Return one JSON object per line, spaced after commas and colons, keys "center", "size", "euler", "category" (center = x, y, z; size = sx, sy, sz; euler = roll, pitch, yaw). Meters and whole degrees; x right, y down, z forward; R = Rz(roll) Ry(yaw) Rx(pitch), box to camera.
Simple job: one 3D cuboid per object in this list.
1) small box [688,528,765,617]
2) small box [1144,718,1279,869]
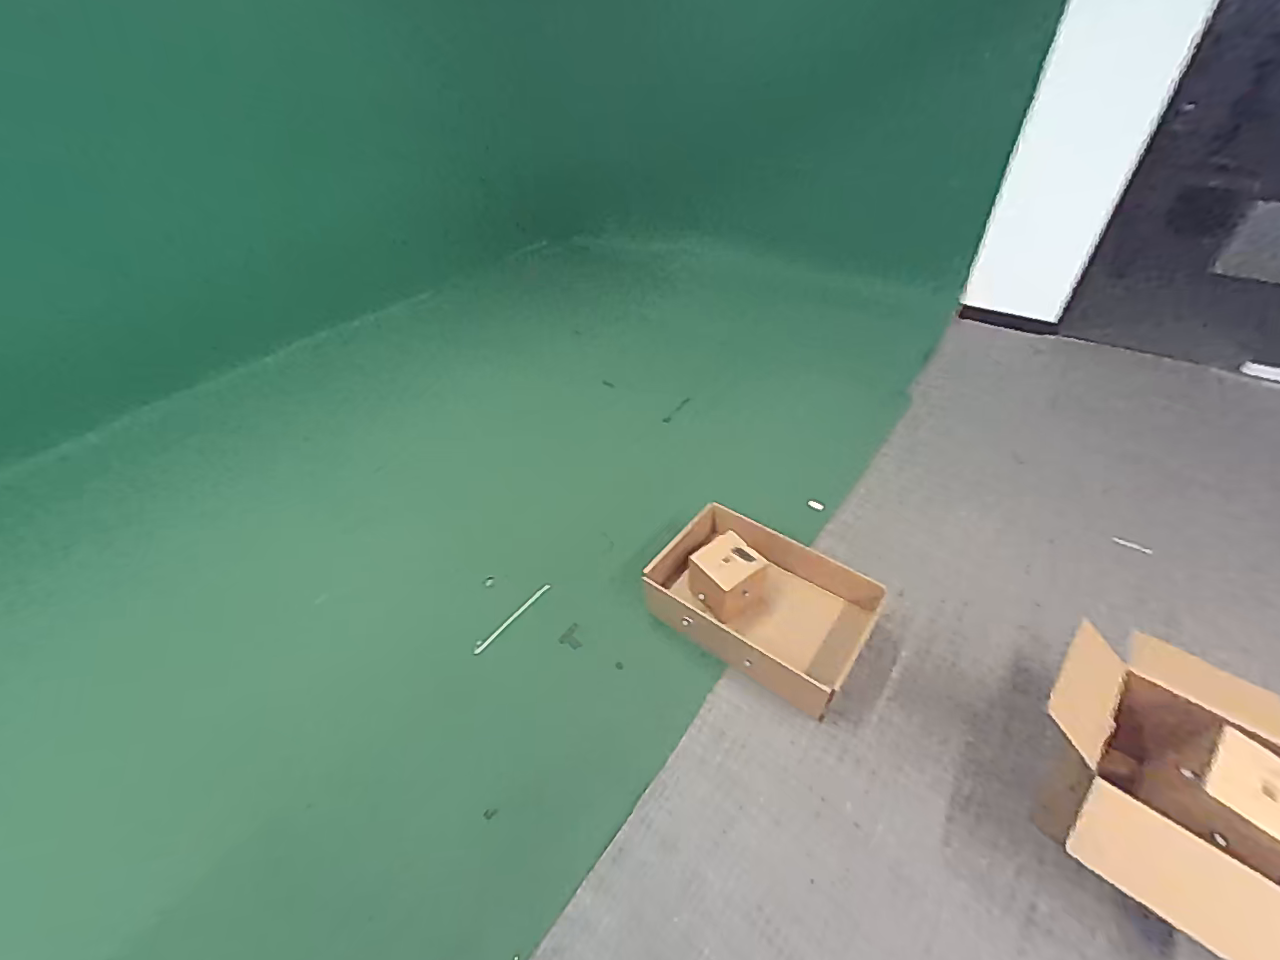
{"center": [0.261, 0.289, 1.679], "size": [0.179, 0.176, 0.168], "euler": [-28, 49, -25], "category": "small box"}
{"center": [1.151, 0.618, 1.062], "size": [0.179, 0.176, 0.168], "euler": [-34, 54, -28], "category": "small box"}
